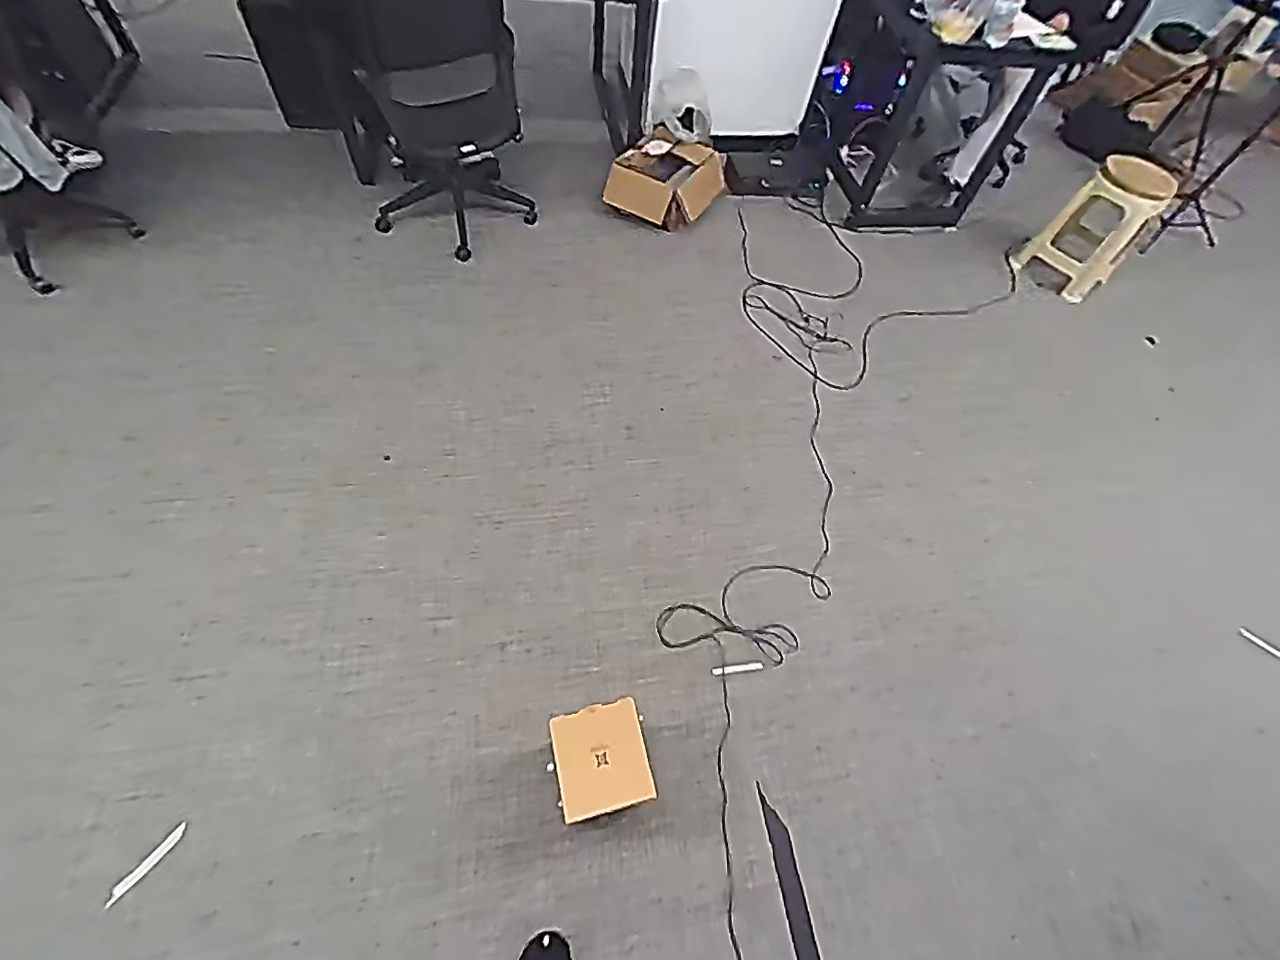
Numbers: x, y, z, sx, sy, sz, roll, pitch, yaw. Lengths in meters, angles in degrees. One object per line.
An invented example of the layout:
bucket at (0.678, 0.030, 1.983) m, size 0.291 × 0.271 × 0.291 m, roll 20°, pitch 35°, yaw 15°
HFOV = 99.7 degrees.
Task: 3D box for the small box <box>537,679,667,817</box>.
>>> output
small box at (-0.073, 0.506, 1.030) m, size 0.179 × 0.176 × 0.168 m, roll -24°, pitch 43°, yaw 0°
